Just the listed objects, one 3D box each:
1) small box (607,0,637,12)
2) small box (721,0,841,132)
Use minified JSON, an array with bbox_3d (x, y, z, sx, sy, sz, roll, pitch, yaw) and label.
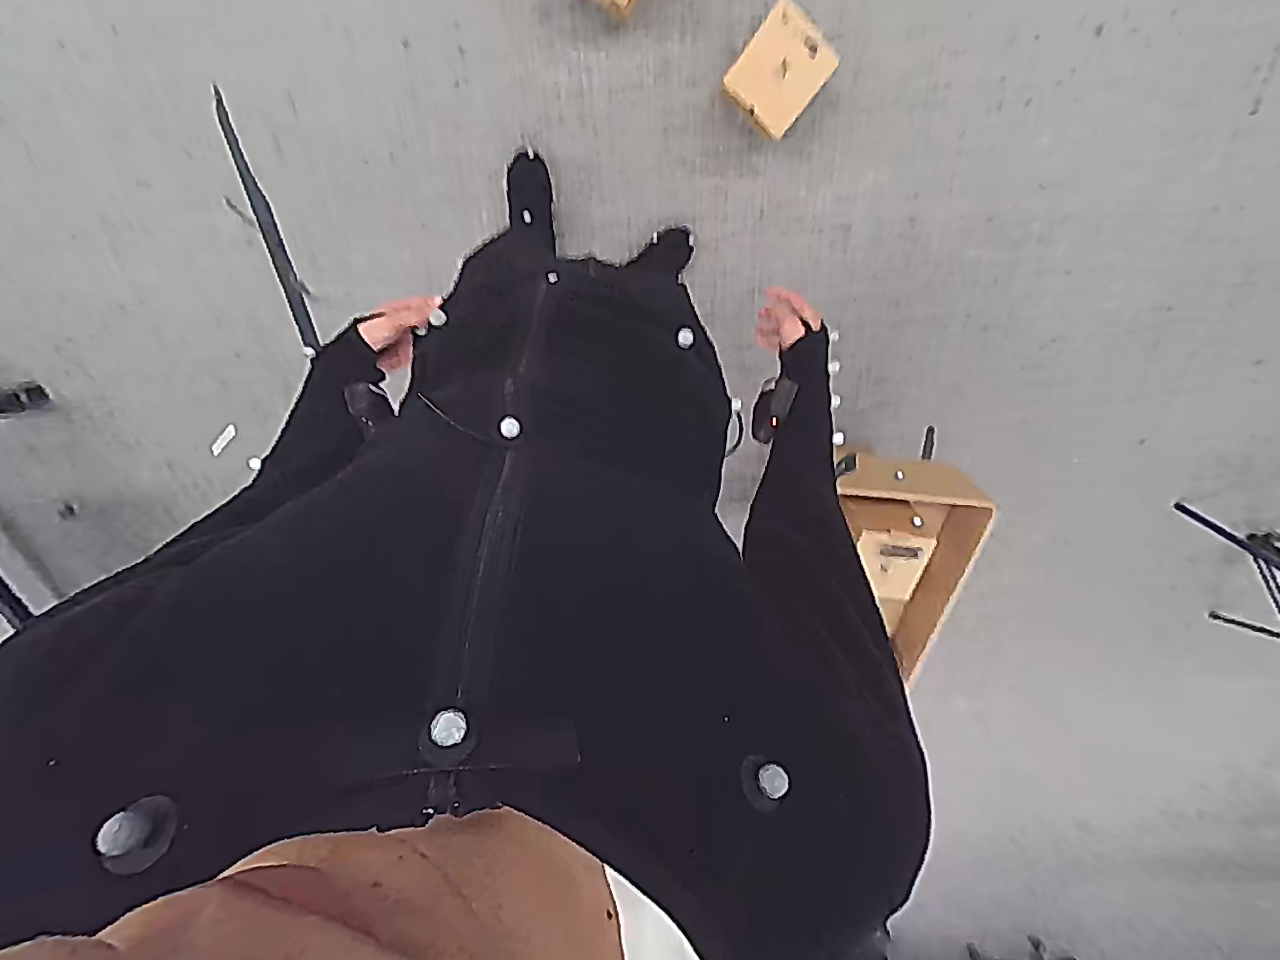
[{"bbox_3d":[-0.059,-1.062,1.047,0.168,0.176,0.179,23,118,-11],"label":"small box"},{"bbox_3d":[0.287,-0.872,1.143,0.168,0.176,0.179,36,117,-18],"label":"small box"}]
